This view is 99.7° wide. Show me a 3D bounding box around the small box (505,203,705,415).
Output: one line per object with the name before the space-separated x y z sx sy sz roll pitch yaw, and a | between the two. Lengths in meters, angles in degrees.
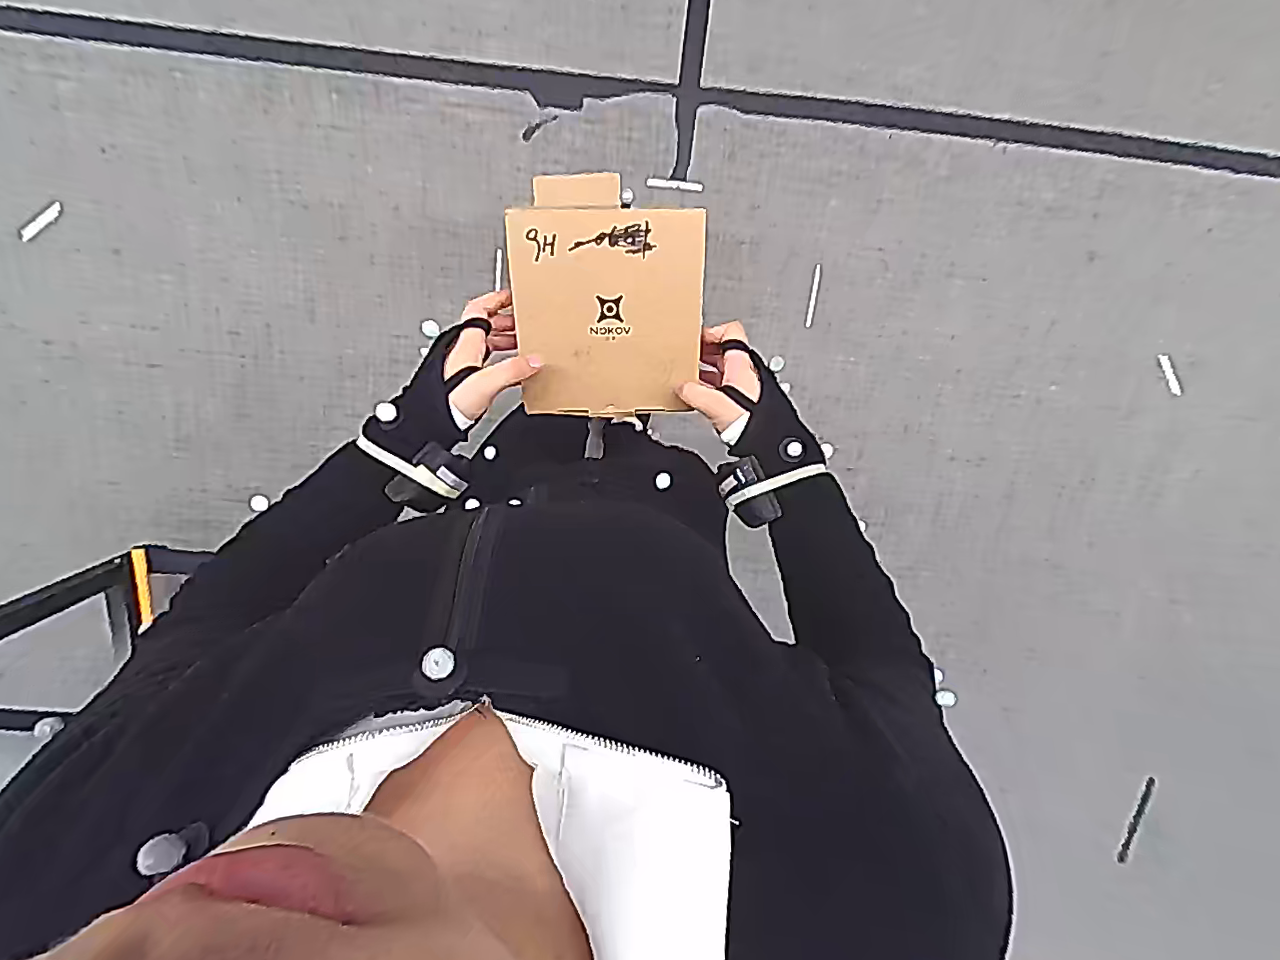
small box | -0.030 -0.178 0.546 0.168 0.176 0.179 -2 119 -2

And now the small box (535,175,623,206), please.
small box | -0.115 -0.501 1.104 0.168 0.176 0.179 -2 105 1
